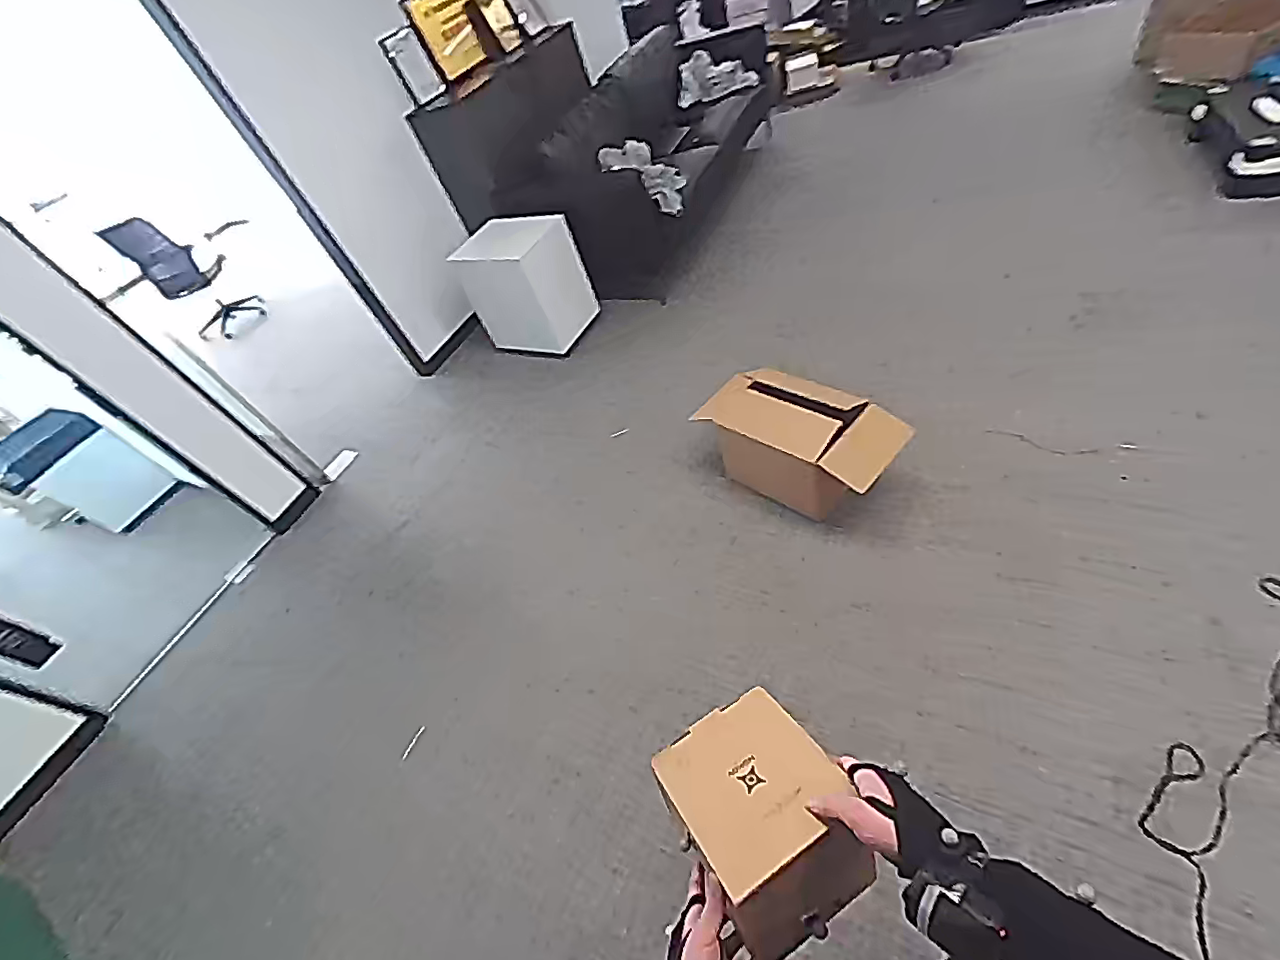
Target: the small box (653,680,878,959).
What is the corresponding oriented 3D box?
[{"bbox_3d":[0.139,0.374,0.608,0.168,0.176,0.179,-27,29,-13],"label":"small box"}]
